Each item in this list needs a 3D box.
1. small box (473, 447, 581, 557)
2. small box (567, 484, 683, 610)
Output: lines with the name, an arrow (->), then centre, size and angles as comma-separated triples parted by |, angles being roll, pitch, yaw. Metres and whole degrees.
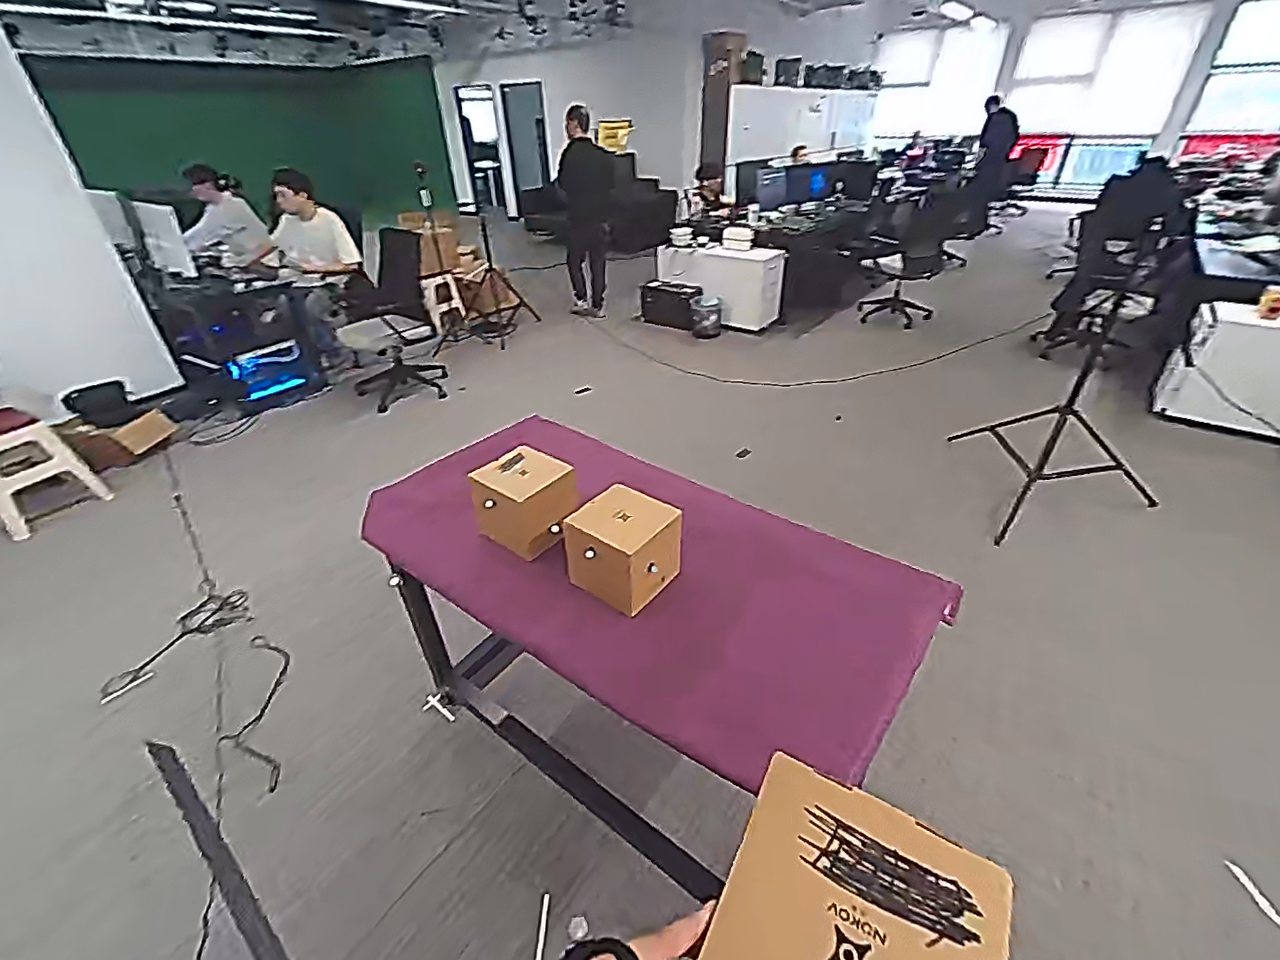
small box -> -0.257, 0.051, 1.257 | 0.179, 0.176, 0.168 | 23, 41, 31
small box -> -0.027, 0.141, 1.115 | 0.179, 0.176, 0.168 | 23, 40, 31
